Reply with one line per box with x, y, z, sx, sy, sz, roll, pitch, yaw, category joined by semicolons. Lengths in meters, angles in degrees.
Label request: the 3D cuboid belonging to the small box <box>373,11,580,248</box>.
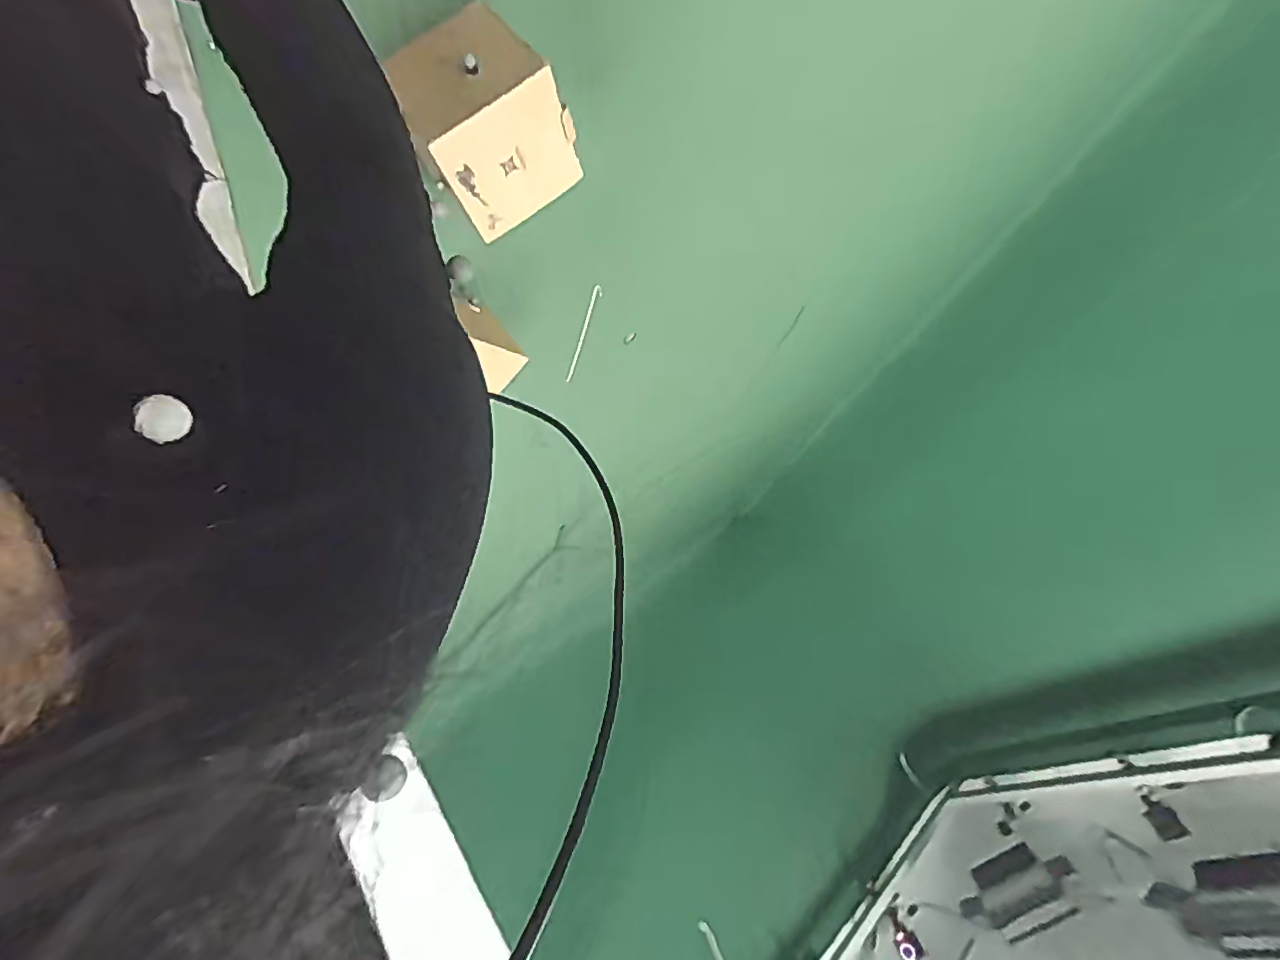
-0.212;-0.464;0.722;0.179;0.176;0.168;-37;162;-3;small box

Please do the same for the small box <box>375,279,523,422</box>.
-0.361;-0.235;1.010;0.179;0.176;0.168;-44;162;19;small box
